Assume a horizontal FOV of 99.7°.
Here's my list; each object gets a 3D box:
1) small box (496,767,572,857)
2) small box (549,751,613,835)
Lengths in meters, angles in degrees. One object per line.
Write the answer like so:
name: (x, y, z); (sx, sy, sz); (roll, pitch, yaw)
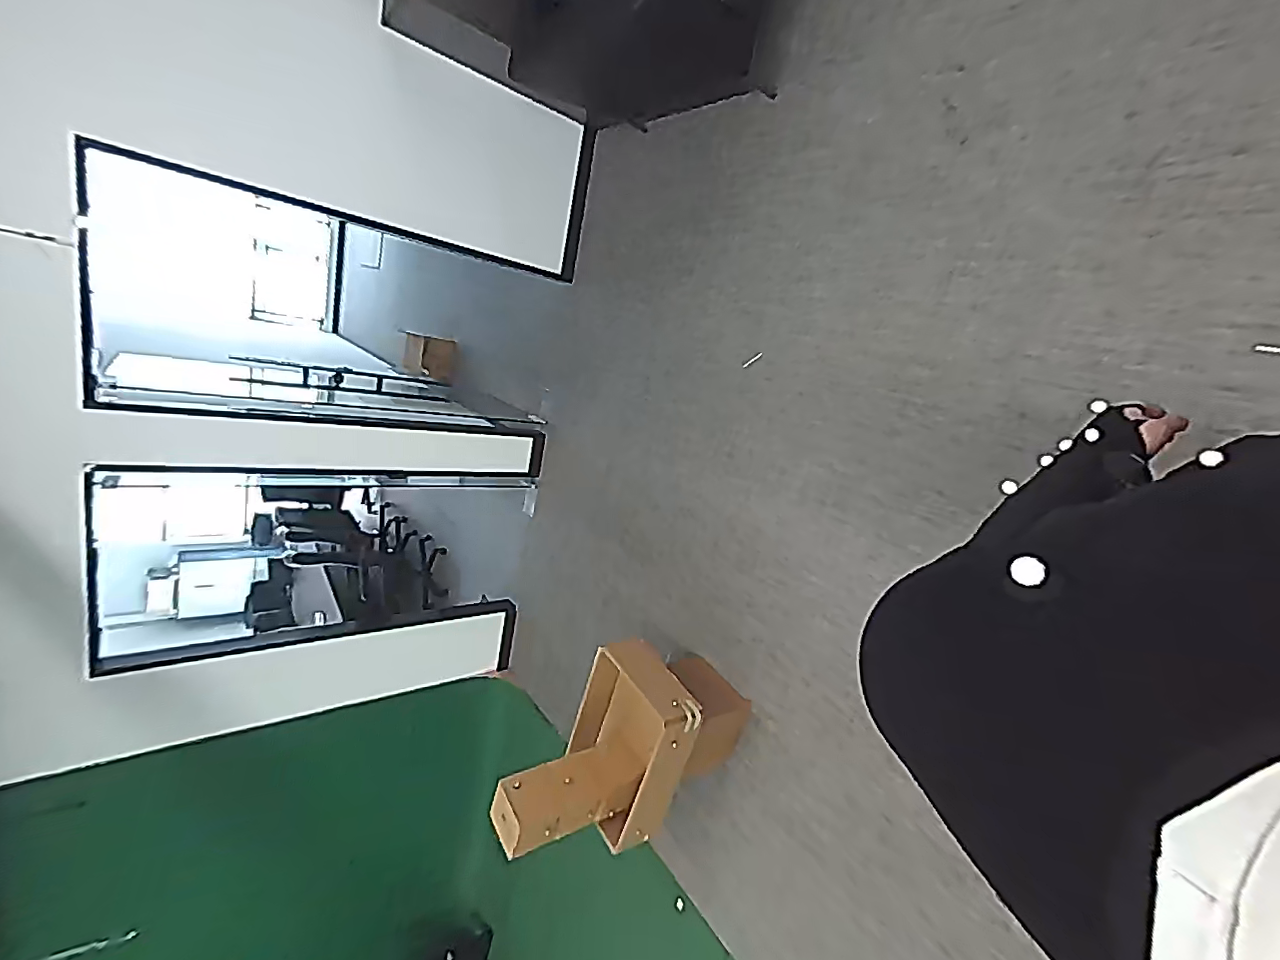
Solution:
small box: (-0.353, 1.091, 1.800); (0.179, 0.176, 0.168); (39, 120, 42)
small box: (-0.224, 1.090, 1.903); (0.179, 0.176, 0.168); (37, 118, 42)
